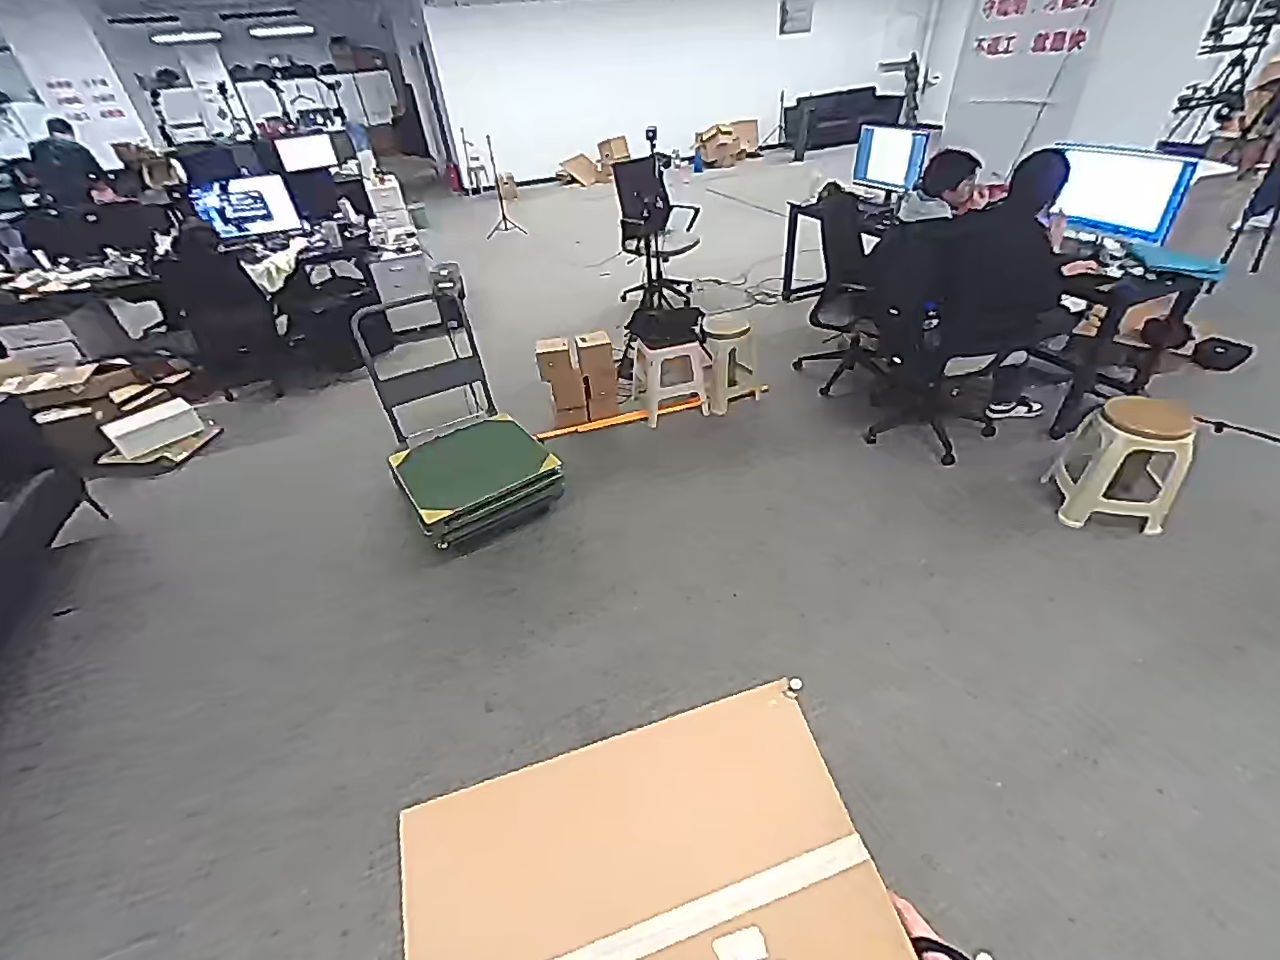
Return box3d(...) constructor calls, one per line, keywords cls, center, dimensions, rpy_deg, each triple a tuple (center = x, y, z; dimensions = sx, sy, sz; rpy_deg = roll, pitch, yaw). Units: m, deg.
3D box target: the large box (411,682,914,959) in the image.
box3d(cls="large box", center=(0.016, 0.475, 0.591), dimensions=(0.408, 0.320, 0.320), rpy_deg=(-15, 57, -10))
